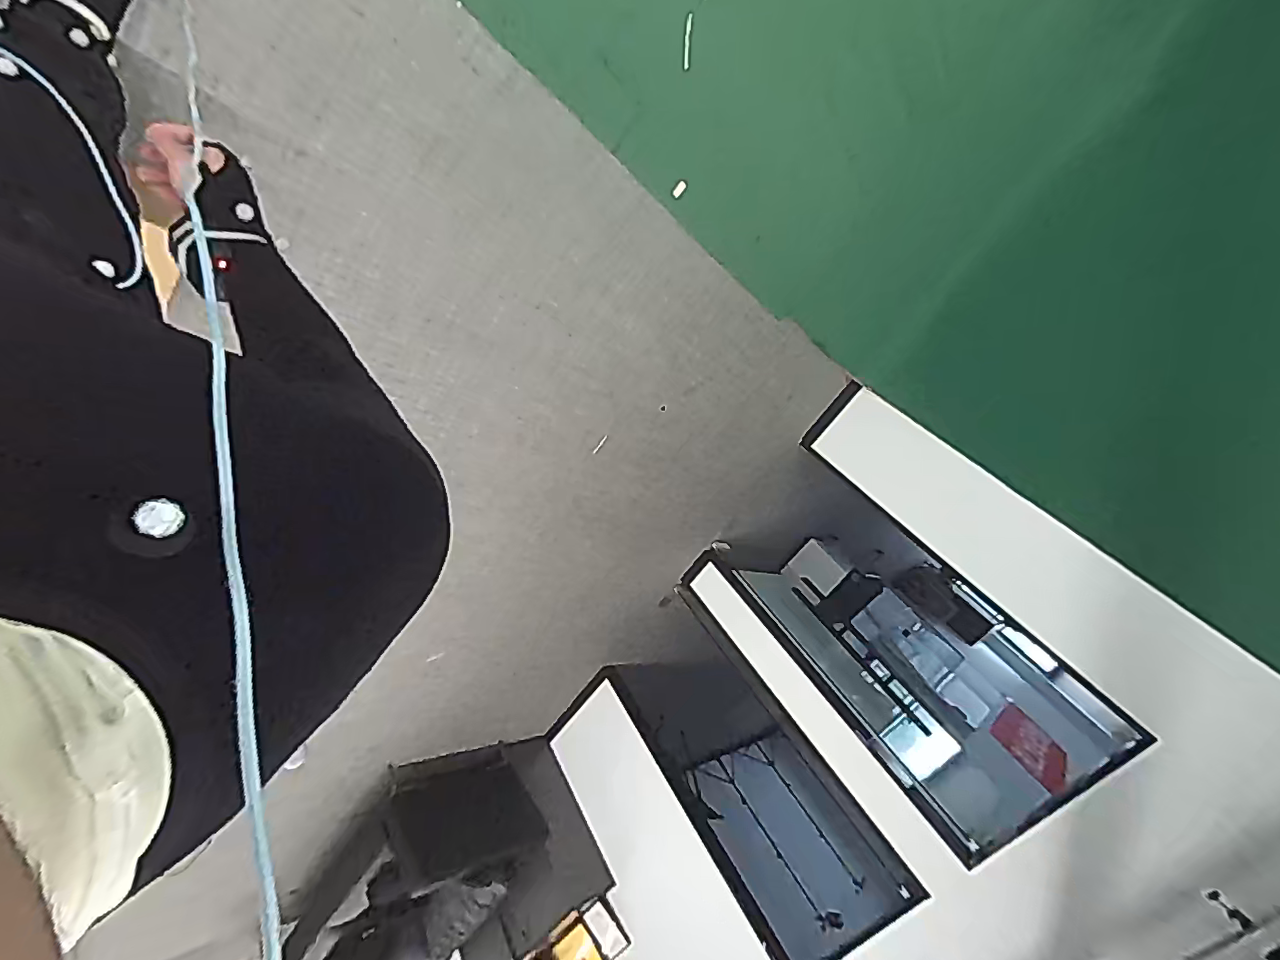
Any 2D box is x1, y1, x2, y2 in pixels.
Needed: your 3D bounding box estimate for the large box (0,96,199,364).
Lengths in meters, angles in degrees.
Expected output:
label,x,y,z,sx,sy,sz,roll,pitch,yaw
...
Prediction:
label,x,y,z,sx,sy,sz,roll,pitch,yaw
large box,-1.092,-0.465,0.965,0.408,0.320,0.320,13,120,-50
